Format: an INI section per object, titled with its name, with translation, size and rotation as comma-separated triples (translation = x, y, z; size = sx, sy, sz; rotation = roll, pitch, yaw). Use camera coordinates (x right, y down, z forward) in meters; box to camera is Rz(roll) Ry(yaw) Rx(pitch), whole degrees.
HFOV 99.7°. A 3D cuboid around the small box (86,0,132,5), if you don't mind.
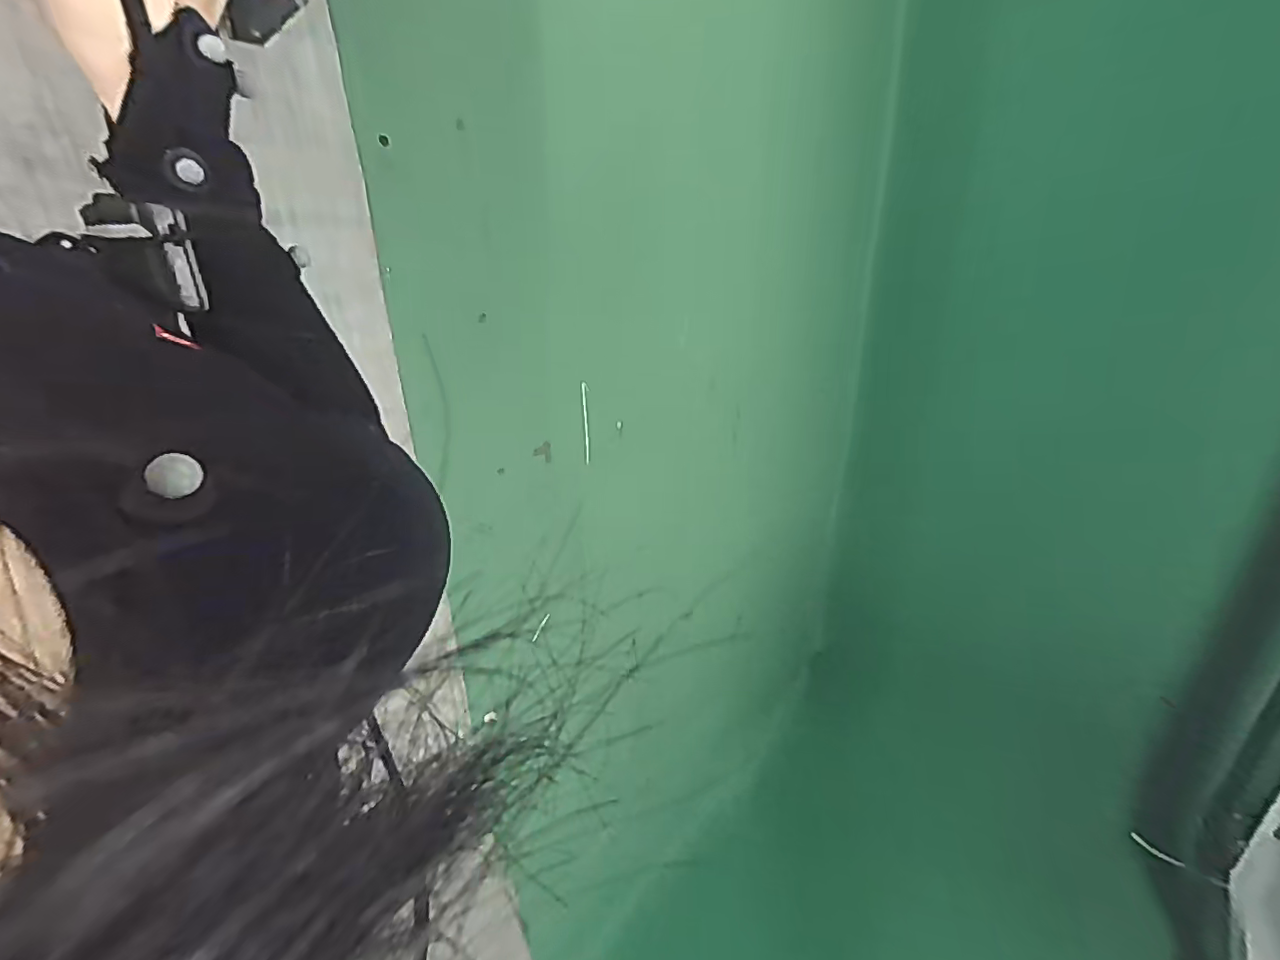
[small box]
translation = -0.357, -0.373, 0.258
size = 0.179, 0.176, 0.168
rotation = -2, 113, -40
